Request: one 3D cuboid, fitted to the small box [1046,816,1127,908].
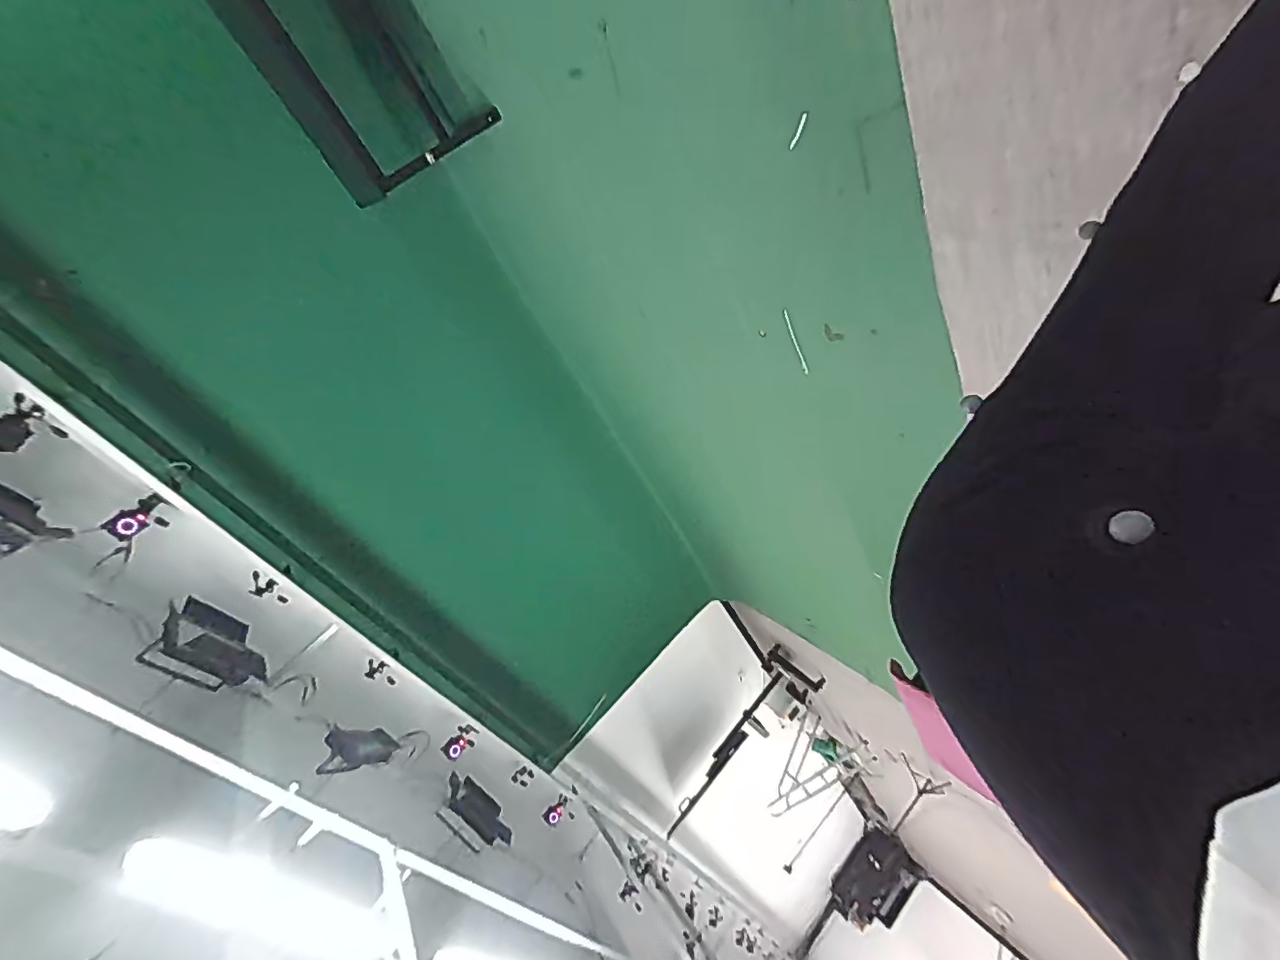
[{"bbox_3d":[1.513,1.292,1.833,0.168,0.176,0.179,24,153,50],"label":"small box"}]

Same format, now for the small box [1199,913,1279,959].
[{"bbox_3d":[1.718,1.379,1.528,0.168,0.176,0.179,25,154,52],"label":"small box"}]
